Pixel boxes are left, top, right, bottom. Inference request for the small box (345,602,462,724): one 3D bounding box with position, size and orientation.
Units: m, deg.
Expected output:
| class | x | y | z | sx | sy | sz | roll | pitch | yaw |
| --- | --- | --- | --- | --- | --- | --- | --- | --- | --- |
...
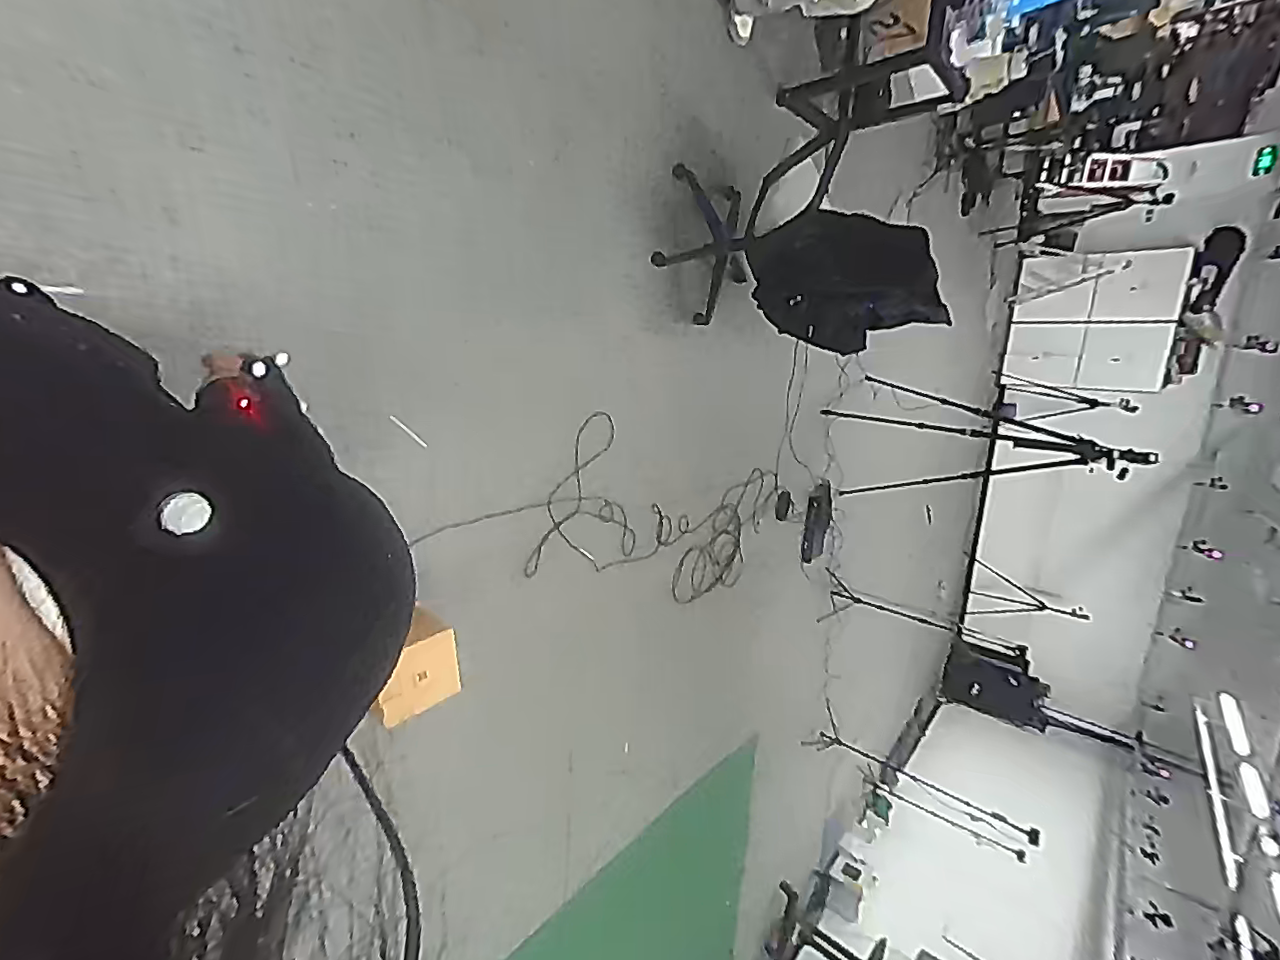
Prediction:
| class | x | y | z | sx | sy | sz | roll | pitch | yaw |
| --- | --- | --- | --- | --- | --- | --- | --- | --- | --- |
| small box | -0.524 | 0.395 | 1.203 | 0.179 | 0.176 | 0.168 | -18 | 113 | -44 |
